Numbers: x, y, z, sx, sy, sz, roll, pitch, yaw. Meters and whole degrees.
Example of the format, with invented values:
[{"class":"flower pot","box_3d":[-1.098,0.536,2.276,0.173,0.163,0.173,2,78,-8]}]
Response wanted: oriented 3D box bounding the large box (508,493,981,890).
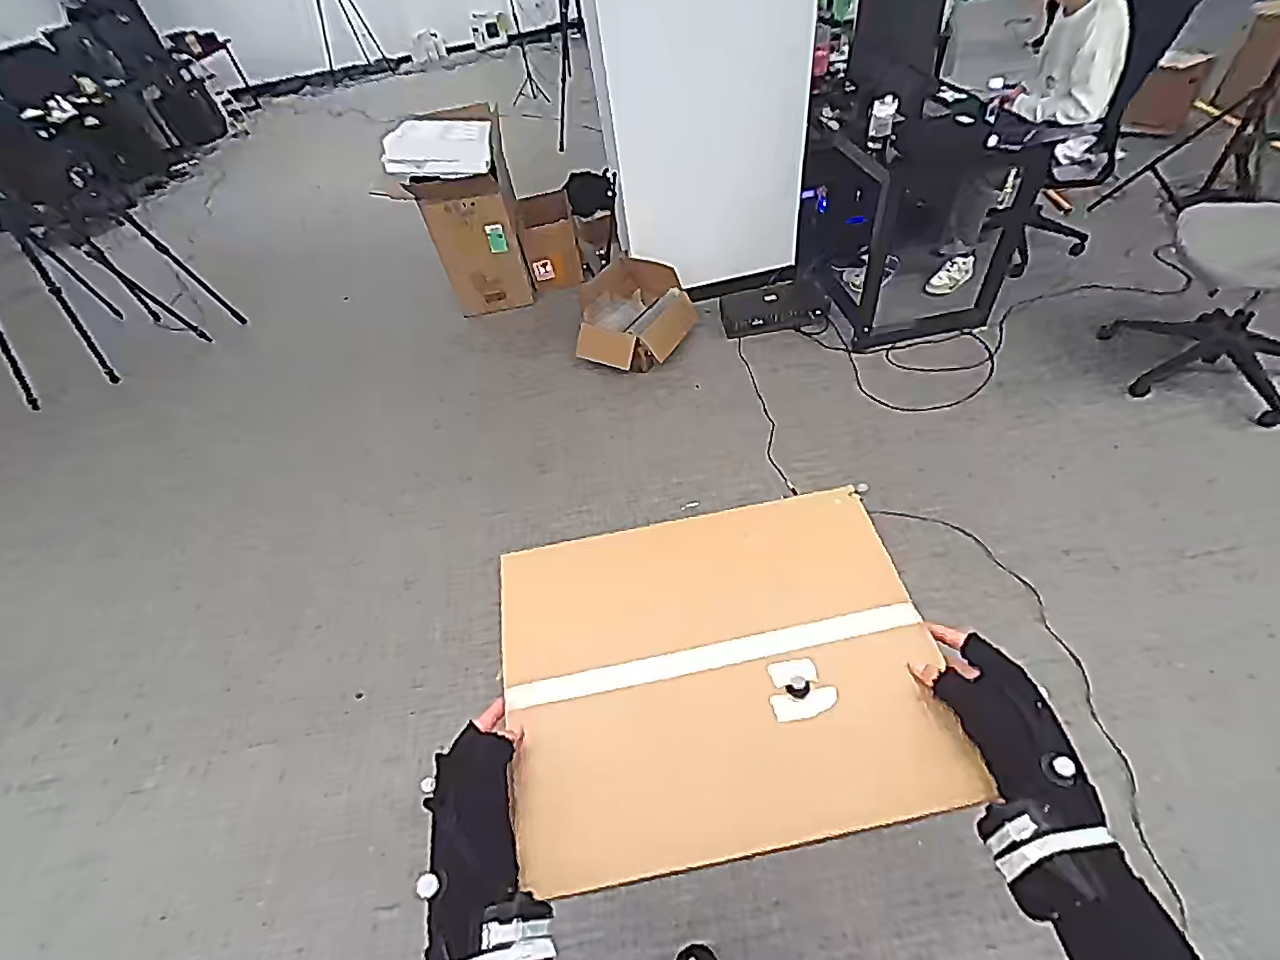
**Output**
[{"class":"large box","box_3d":[0.082,0.261,0.655,0.408,0.320,0.320,-11,55,-2]}]
